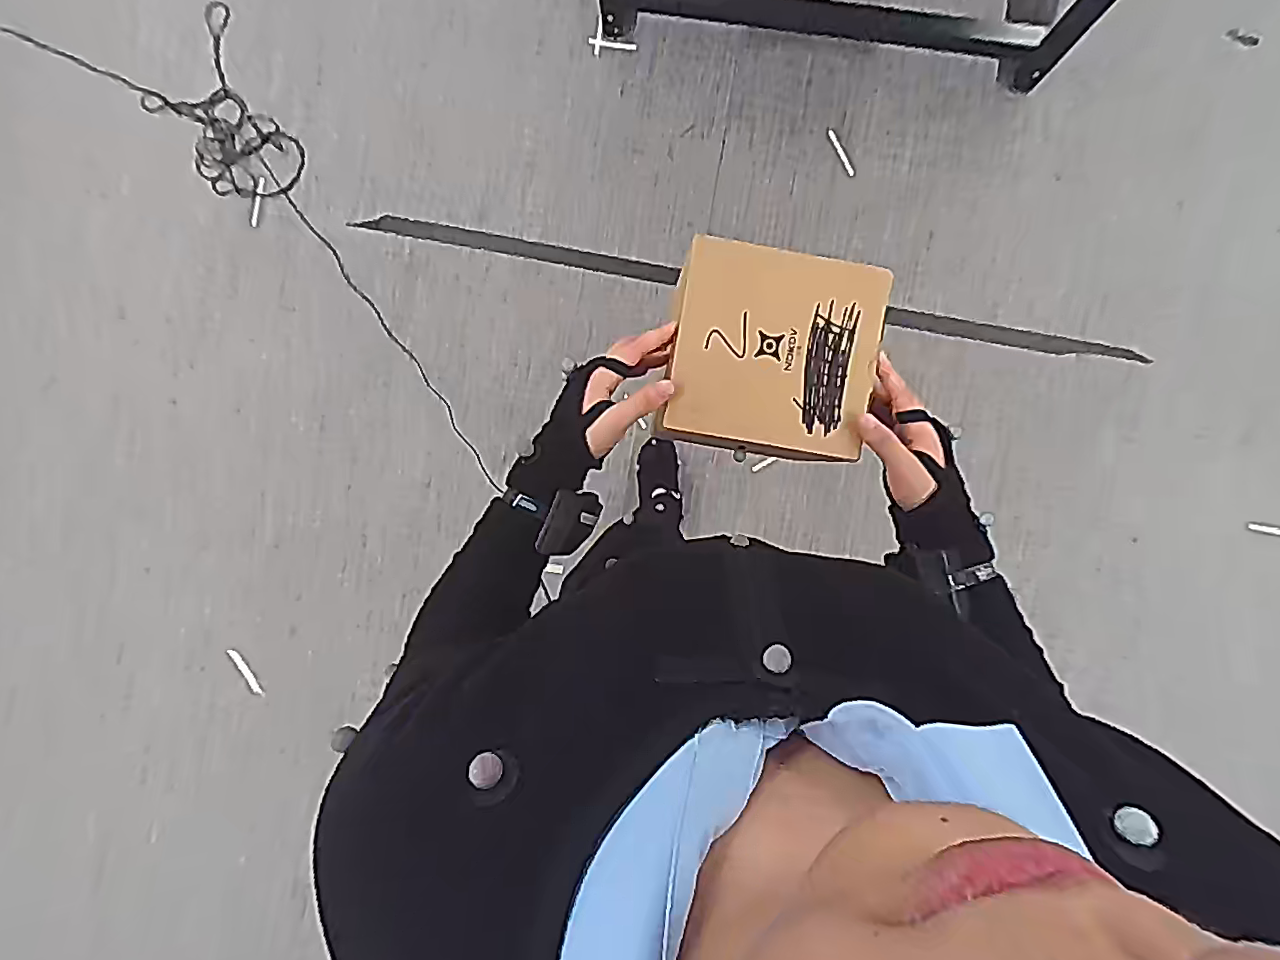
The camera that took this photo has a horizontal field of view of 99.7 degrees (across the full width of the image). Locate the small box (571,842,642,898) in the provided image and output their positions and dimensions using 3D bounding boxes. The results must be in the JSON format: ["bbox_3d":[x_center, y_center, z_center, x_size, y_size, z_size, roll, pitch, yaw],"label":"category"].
[{"bbox_3d":[-0.093,1.090,1.408,0.168,0.176,0.179,13,90,2],"label":"small box"}]

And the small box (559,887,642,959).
[{"bbox_3d":[-0.090,1.081,1.245,0.179,0.176,0.168,4,89,1],"label":"small box"}]
